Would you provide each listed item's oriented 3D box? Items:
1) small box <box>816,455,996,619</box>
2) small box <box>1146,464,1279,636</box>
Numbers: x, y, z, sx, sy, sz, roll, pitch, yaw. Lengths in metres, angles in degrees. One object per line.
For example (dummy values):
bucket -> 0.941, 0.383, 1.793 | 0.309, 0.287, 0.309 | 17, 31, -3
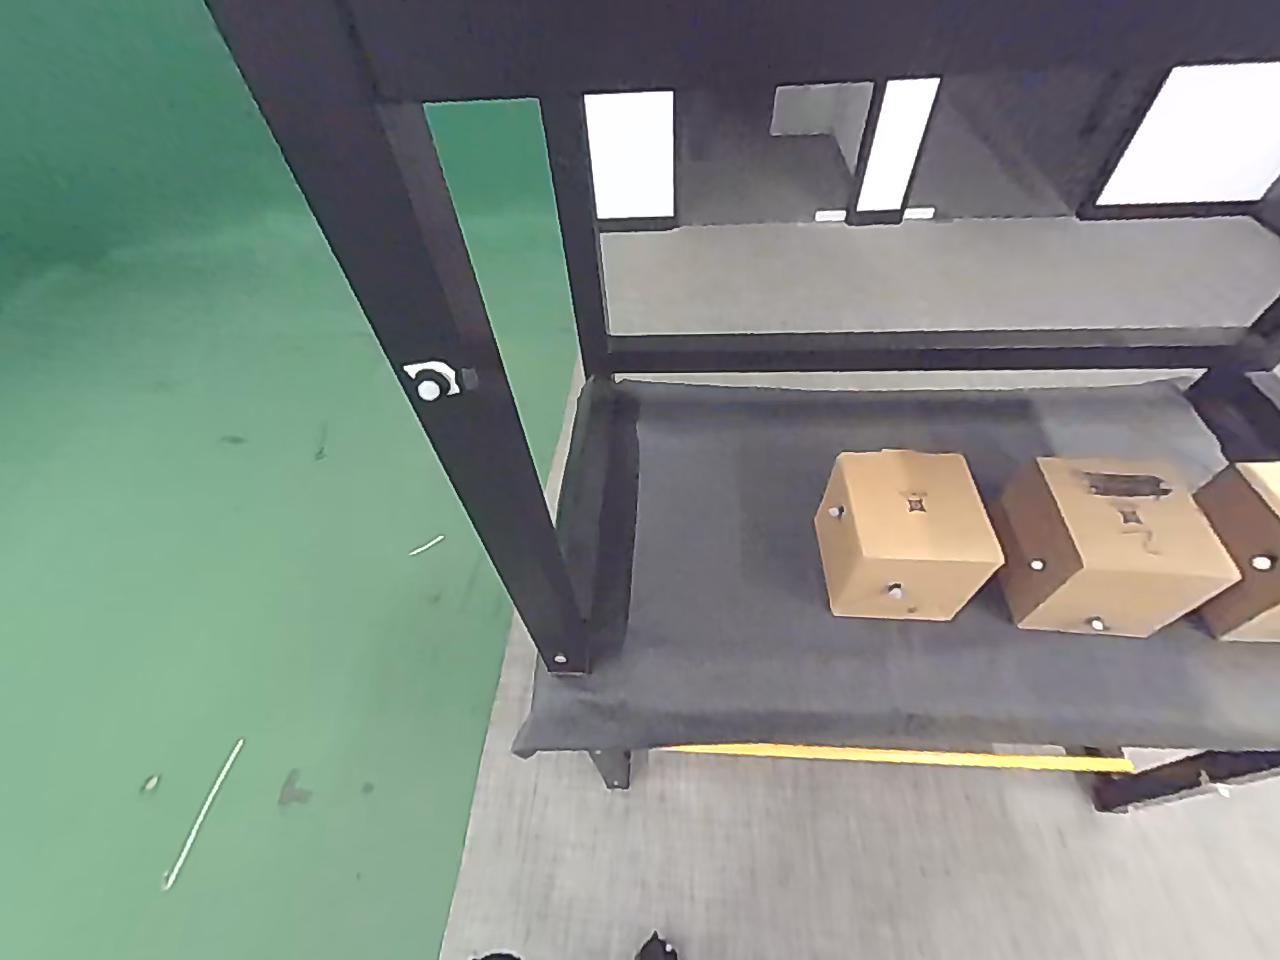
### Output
small box -> 0.356, 0.083, 0.764 | 0.168, 0.176, 0.179 | 1, 50, 5
small box -> 0.846, 0.098, 0.713 | 0.168, 0.176, 0.179 | 0, 49, 4
